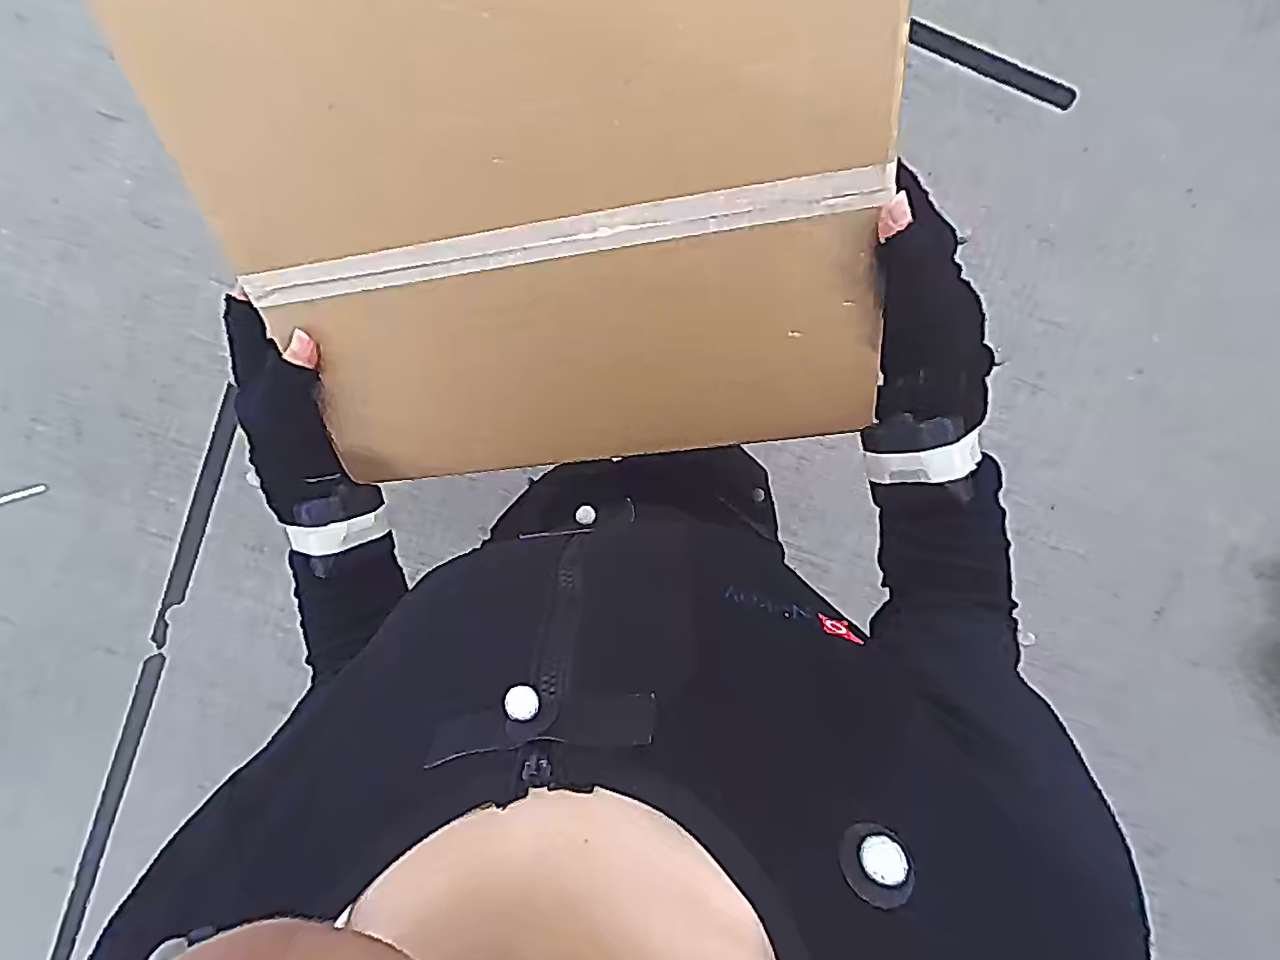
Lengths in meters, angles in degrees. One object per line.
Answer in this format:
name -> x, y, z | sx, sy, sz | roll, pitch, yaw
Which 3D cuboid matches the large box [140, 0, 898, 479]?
large box -> -0.046, -0.230, 0.465 | 0.408, 0.320, 0.320 | -6, 125, 8
